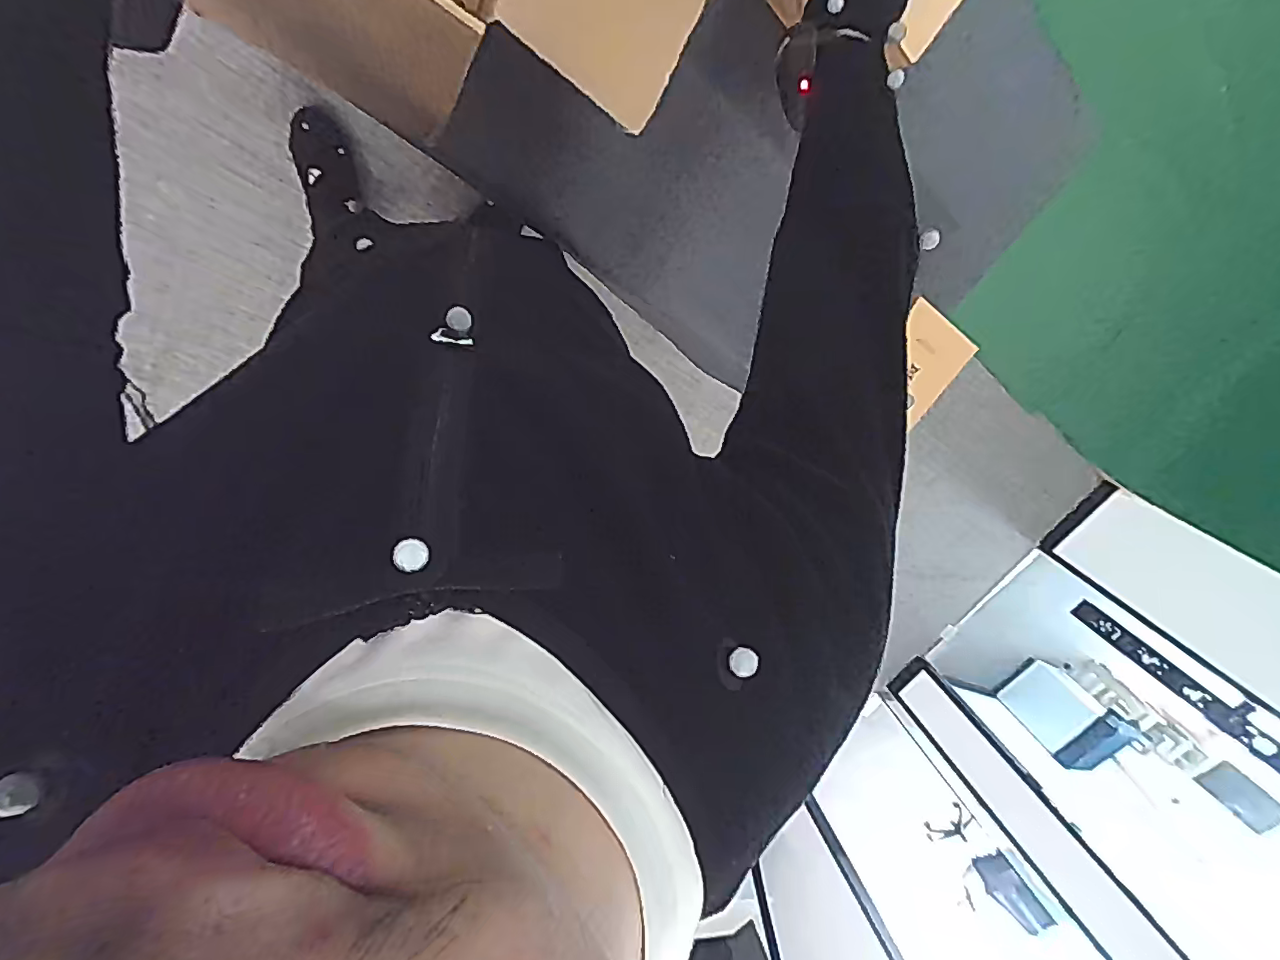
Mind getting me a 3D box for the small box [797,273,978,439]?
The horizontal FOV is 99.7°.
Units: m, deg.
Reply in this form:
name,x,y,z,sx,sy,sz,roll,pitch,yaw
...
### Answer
name,x,y,z,sx,sy,sz,roll,pitch,yaw
small box,0.382,-0.202,0.870,0.168,0.176,0.179,22,112,-31
